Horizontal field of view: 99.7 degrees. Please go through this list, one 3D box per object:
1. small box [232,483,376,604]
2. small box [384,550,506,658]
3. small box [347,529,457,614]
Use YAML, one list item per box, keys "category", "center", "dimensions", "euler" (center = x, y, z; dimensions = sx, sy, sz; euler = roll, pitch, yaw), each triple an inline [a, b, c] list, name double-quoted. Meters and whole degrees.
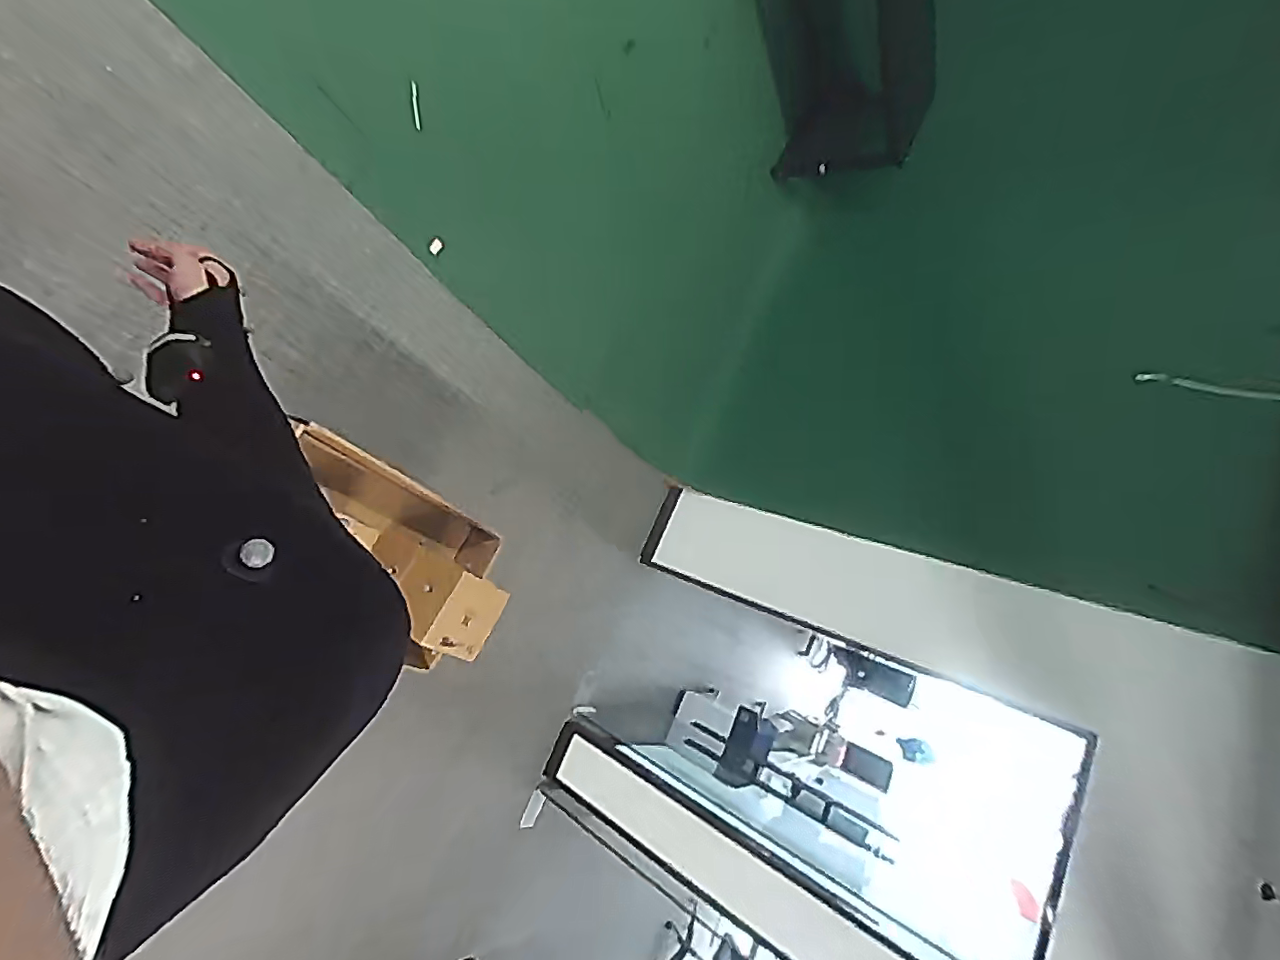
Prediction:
- category: "small box"
  center: [-0.701, 0.129, 1.123]
  dimensions: [0.168, 0.176, 0.179]
  euler: [46, 66, -53]
- category: "small box"
  center: [-0.454, 0.283, 1.253]
  dimensions: [0.179, 0.176, 0.168]
  euler: [-63, 143, -17]
- category: "small box"
  center: [-0.585, 0.243, 1.344]
  dimensions: [0.179, 0.176, 0.168]
  euler: [-61, 143, -17]
